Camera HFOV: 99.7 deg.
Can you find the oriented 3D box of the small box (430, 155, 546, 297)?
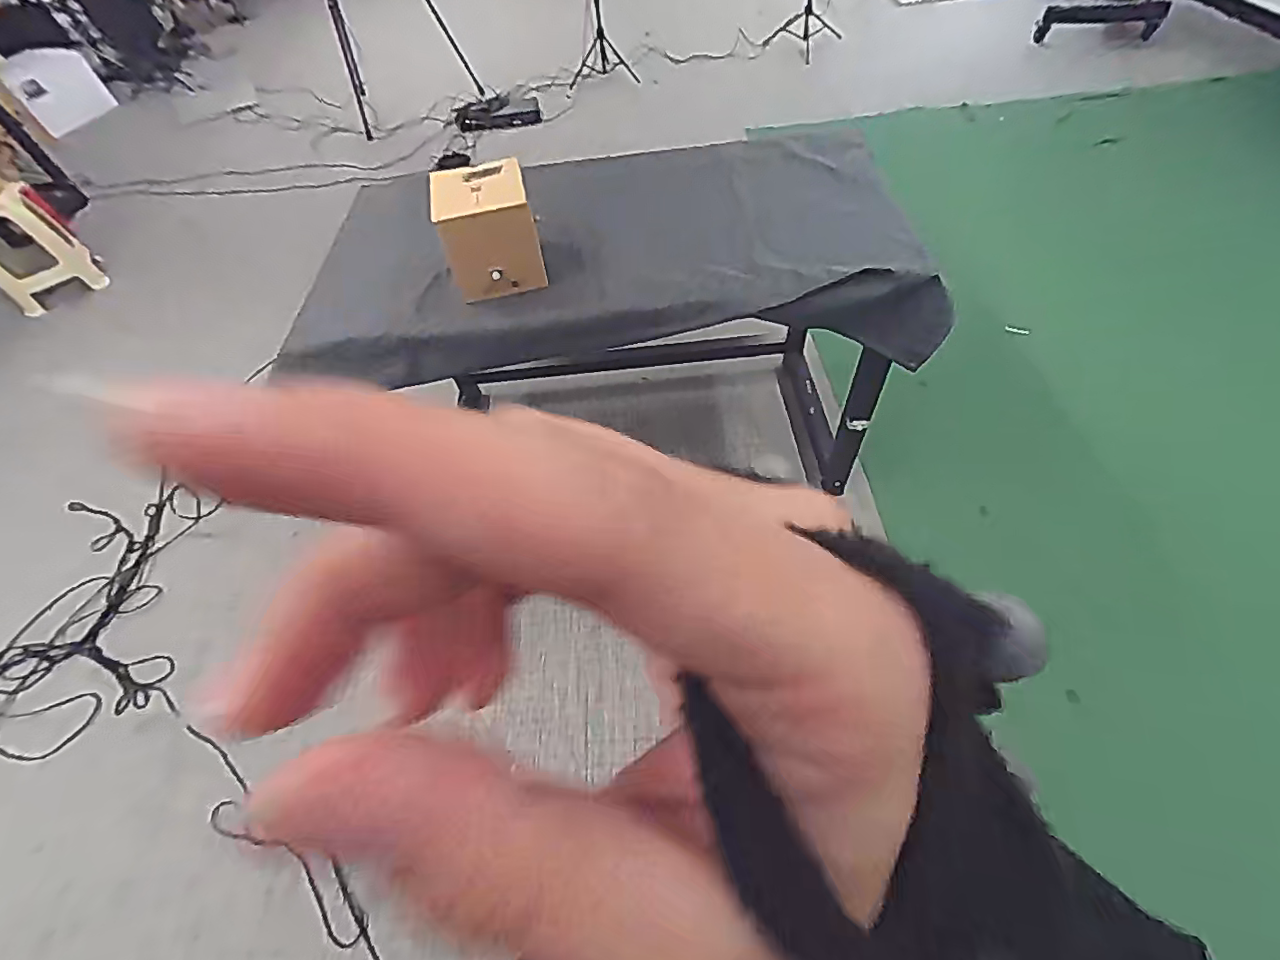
[{"bbox_3d":[-0.283,-0.476,1.019,0.168,0.176,0.179,-14,55,-3],"label":"small box"}]
